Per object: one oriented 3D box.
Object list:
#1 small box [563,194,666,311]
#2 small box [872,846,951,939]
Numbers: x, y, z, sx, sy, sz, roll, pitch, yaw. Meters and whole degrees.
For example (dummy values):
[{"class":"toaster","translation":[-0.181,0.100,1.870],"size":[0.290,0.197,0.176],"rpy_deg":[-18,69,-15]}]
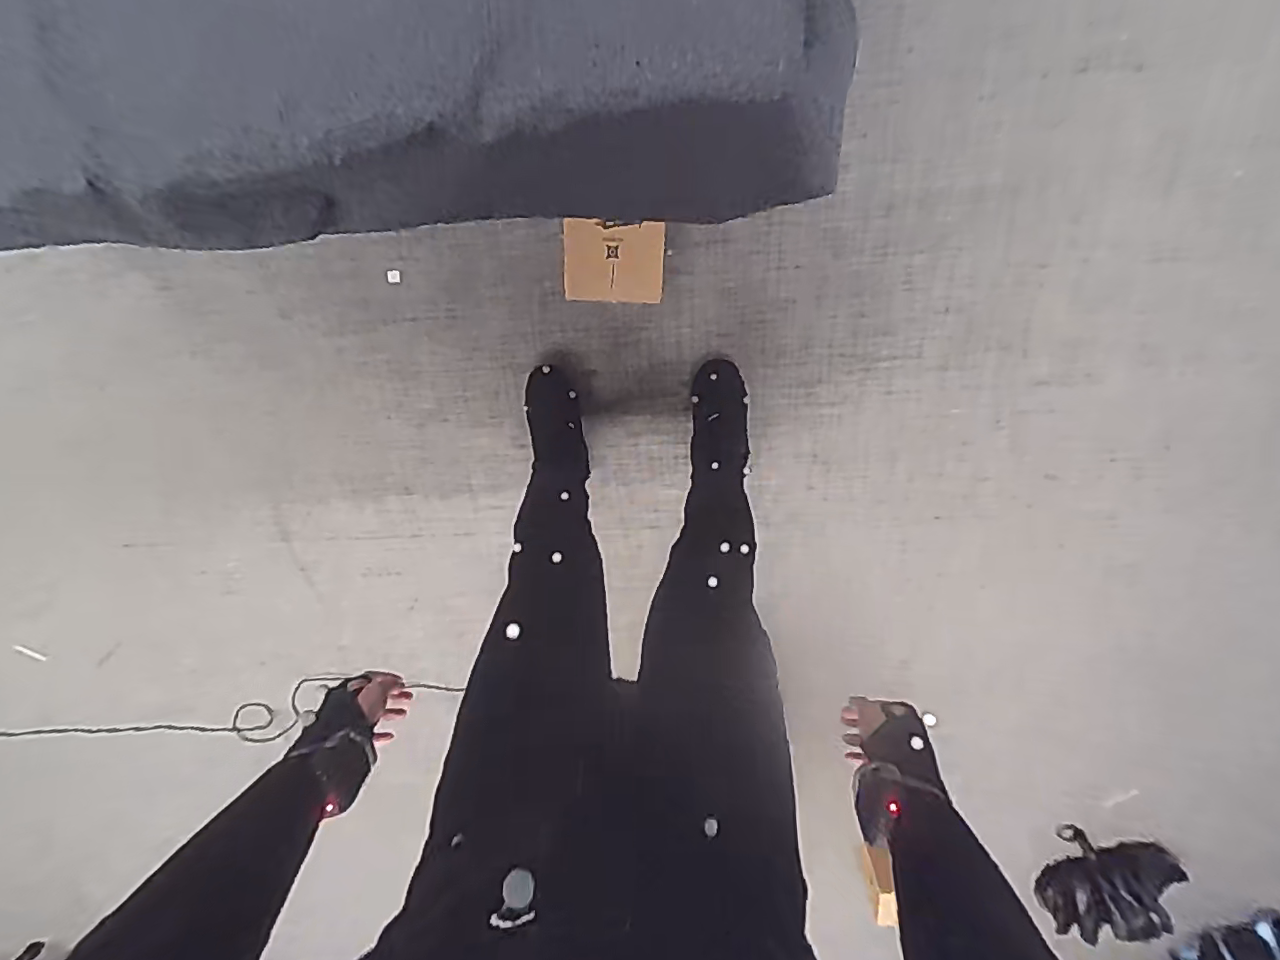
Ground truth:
[{"class":"small box","translation":[-0.040,-0.403,0.961],"size":[0.168,0.176,0.179],"rpy_deg":[2,115,3]},{"class":"small box","translation":[0.811,1.239,1.632],"size":[0.168,0.176,0.179],"rpy_deg":[-5,112,6]}]
